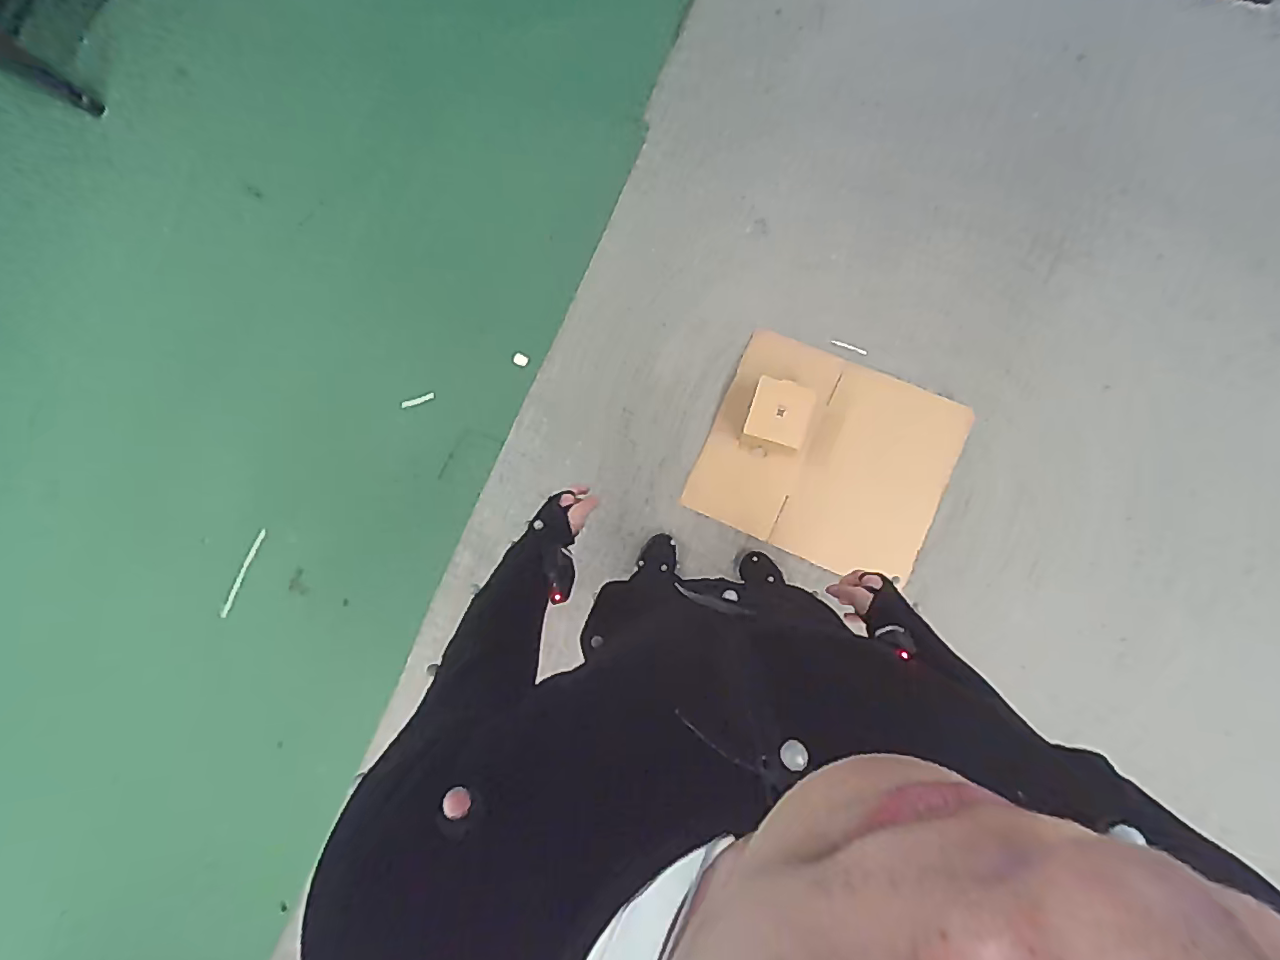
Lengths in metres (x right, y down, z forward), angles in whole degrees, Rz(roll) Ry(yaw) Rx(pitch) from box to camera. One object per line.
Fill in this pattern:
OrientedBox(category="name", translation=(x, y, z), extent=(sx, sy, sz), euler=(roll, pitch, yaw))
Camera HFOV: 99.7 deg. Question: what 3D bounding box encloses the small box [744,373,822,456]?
OrientedBox(category="small box", translation=(0.402, -0.183, 1.553), extent=(0.168, 0.176, 0.179), euler=(18, 87, 8))
